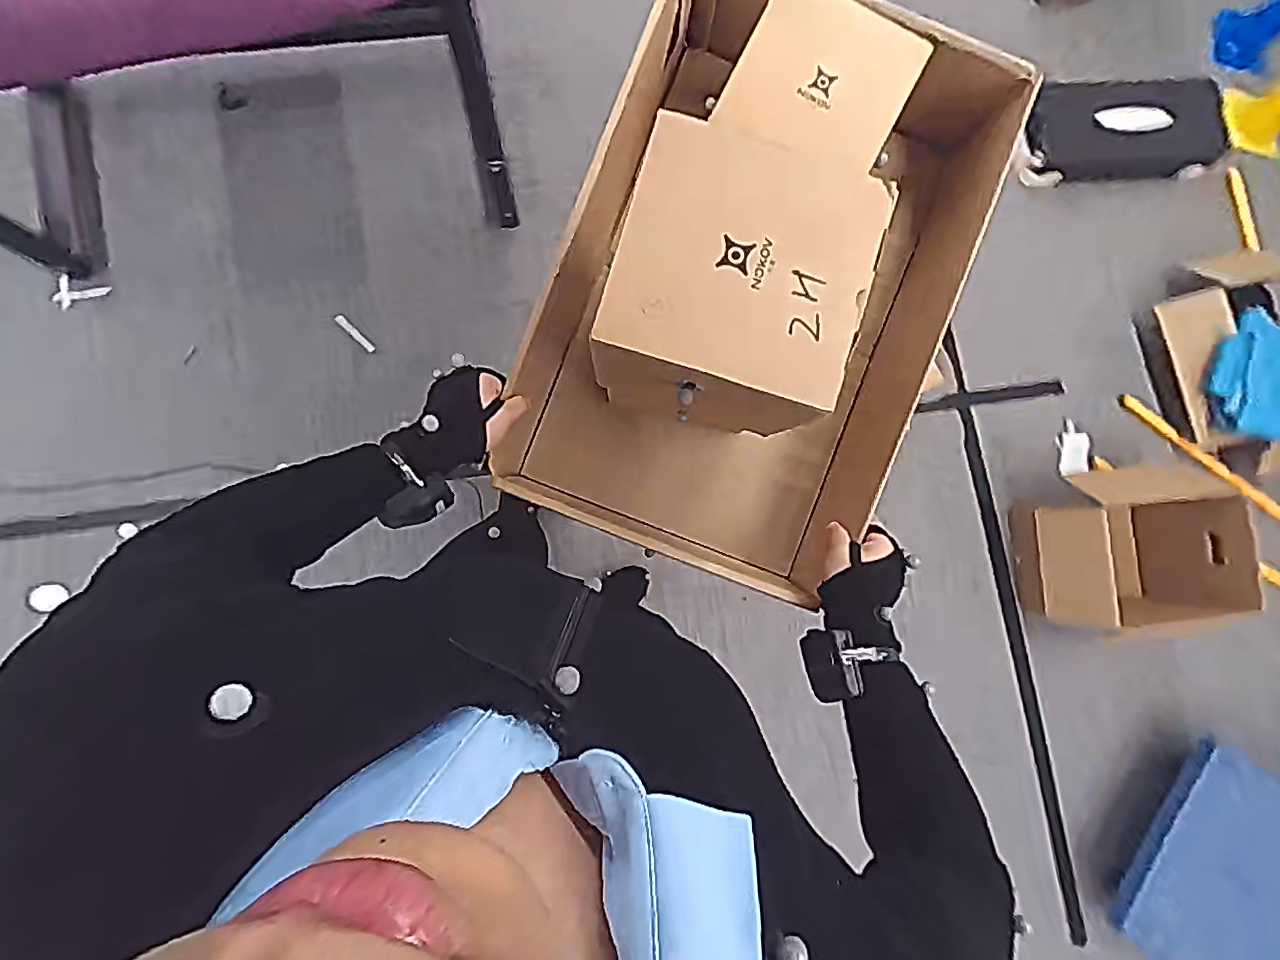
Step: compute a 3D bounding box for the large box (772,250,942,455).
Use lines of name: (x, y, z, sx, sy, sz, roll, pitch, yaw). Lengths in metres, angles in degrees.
large box: (0.500, -0.327, 1.452, 0.320, 0.320, 0.408, -28, 87, -8)

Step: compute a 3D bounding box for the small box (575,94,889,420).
small box: (0.059, -0.153, 0.437, 0.179, 0.176, 0.168, 16, 89, -3)
